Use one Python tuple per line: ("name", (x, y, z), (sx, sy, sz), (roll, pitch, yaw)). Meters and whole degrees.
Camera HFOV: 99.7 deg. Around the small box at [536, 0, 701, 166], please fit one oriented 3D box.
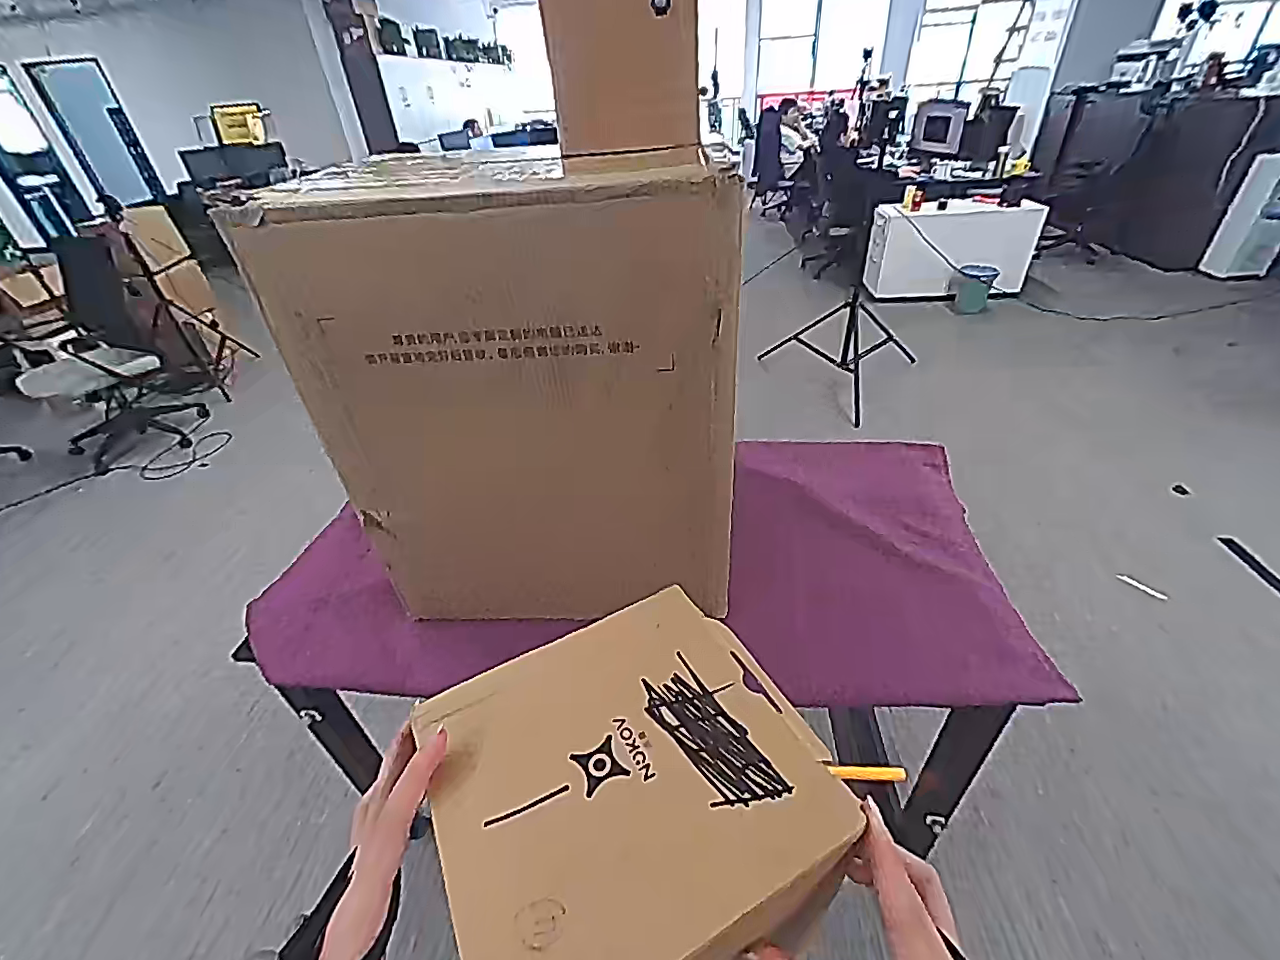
("small box", (-0.015, -0.499, 0.675), (0.179, 0.176, 0.168), (-1, 35, 5))
